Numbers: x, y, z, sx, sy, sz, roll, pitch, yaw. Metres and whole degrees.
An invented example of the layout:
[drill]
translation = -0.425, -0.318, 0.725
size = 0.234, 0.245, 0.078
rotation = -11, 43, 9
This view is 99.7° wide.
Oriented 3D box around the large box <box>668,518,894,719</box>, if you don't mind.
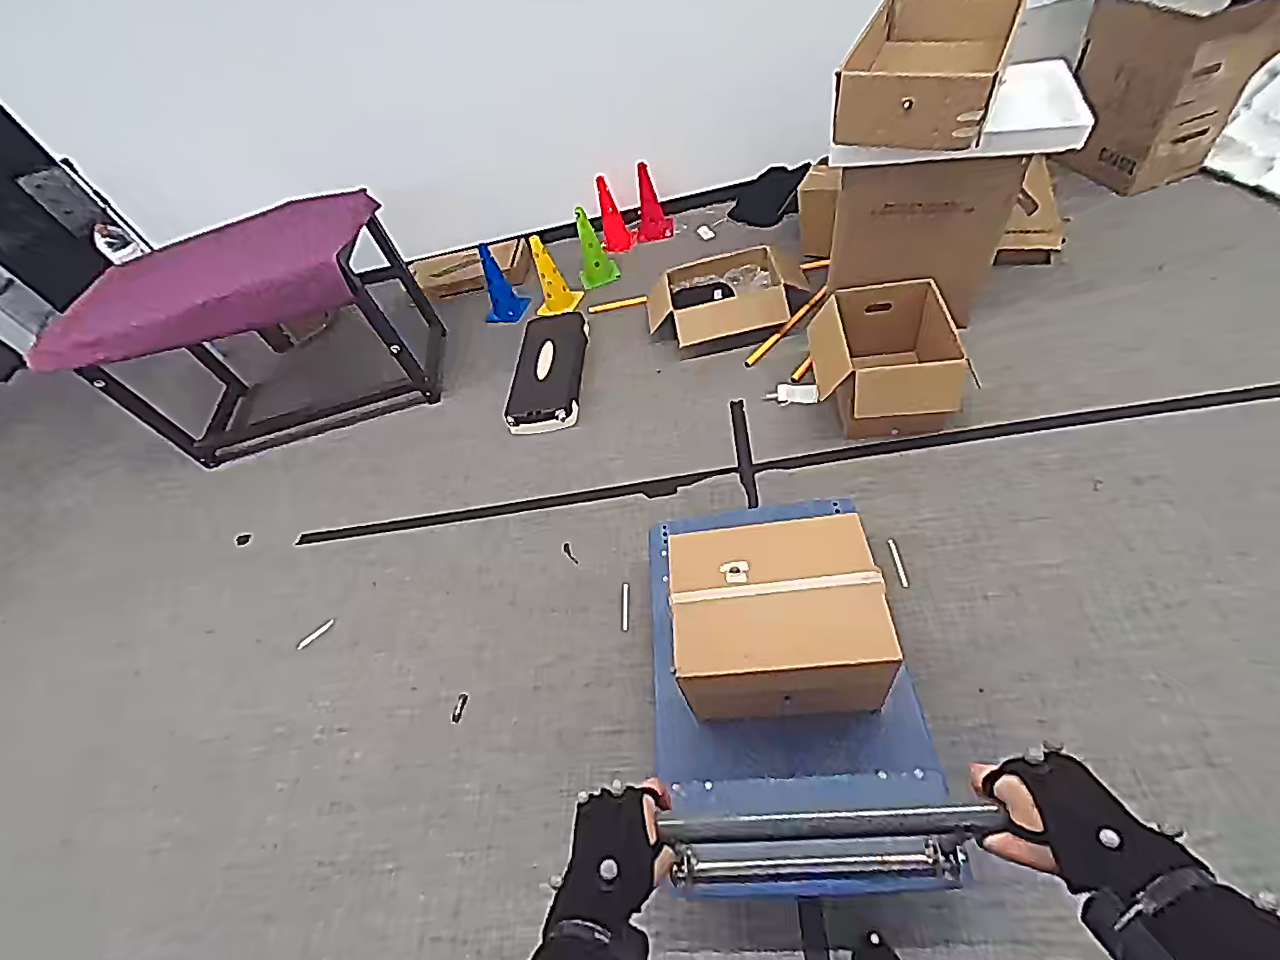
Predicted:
[large box]
translation = 0.294, 0.320, 1.199
size = 0.408, 0.320, 0.320
rotation = -9, 50, 10
